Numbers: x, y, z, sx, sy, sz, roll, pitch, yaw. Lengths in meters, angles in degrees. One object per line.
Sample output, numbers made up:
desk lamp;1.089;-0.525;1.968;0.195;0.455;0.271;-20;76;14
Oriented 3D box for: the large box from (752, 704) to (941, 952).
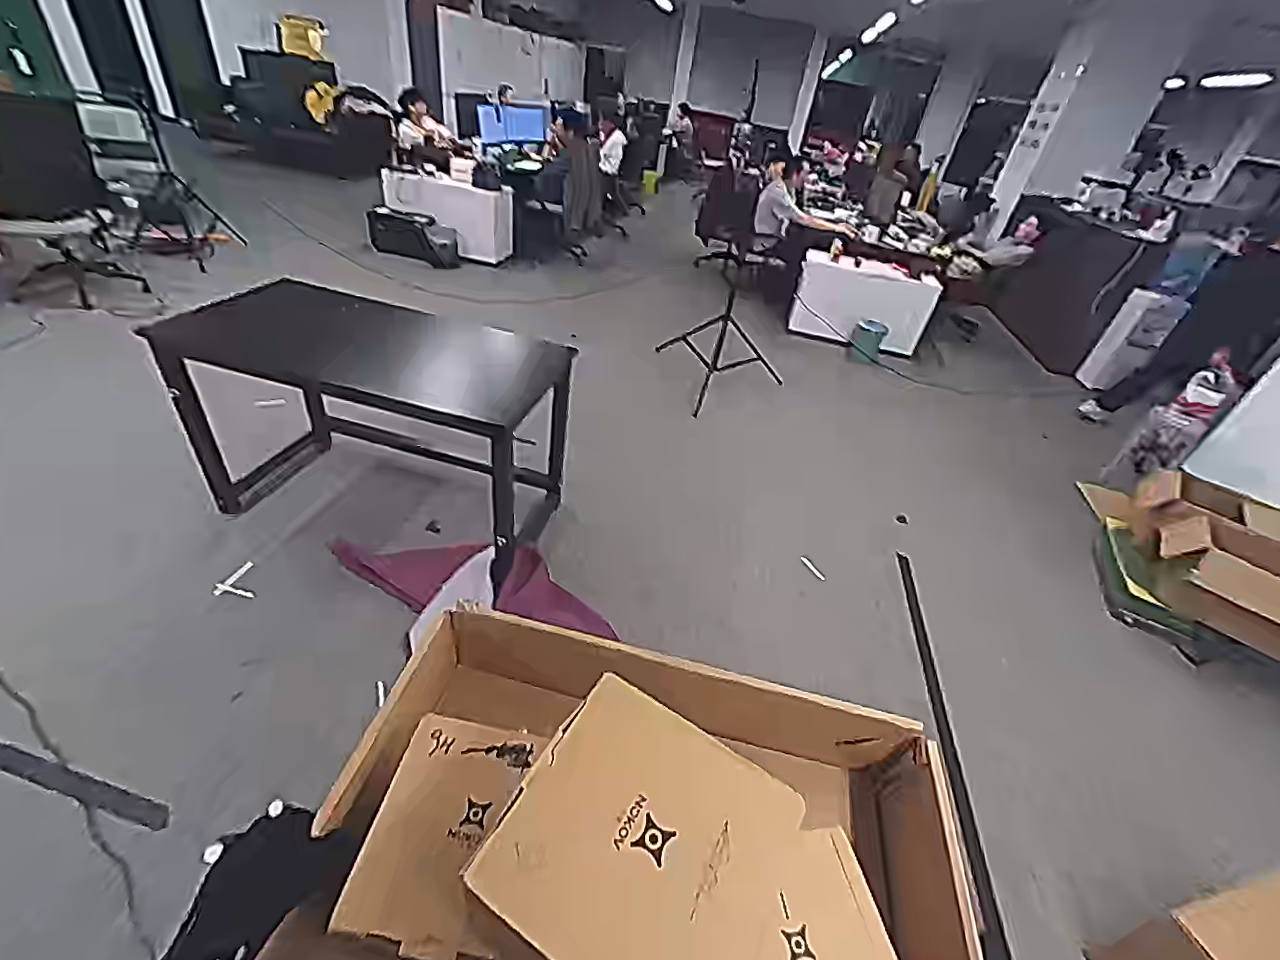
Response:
large box;0.473;0.851;1.350;0.320;0.320;0.408;12;37;4
